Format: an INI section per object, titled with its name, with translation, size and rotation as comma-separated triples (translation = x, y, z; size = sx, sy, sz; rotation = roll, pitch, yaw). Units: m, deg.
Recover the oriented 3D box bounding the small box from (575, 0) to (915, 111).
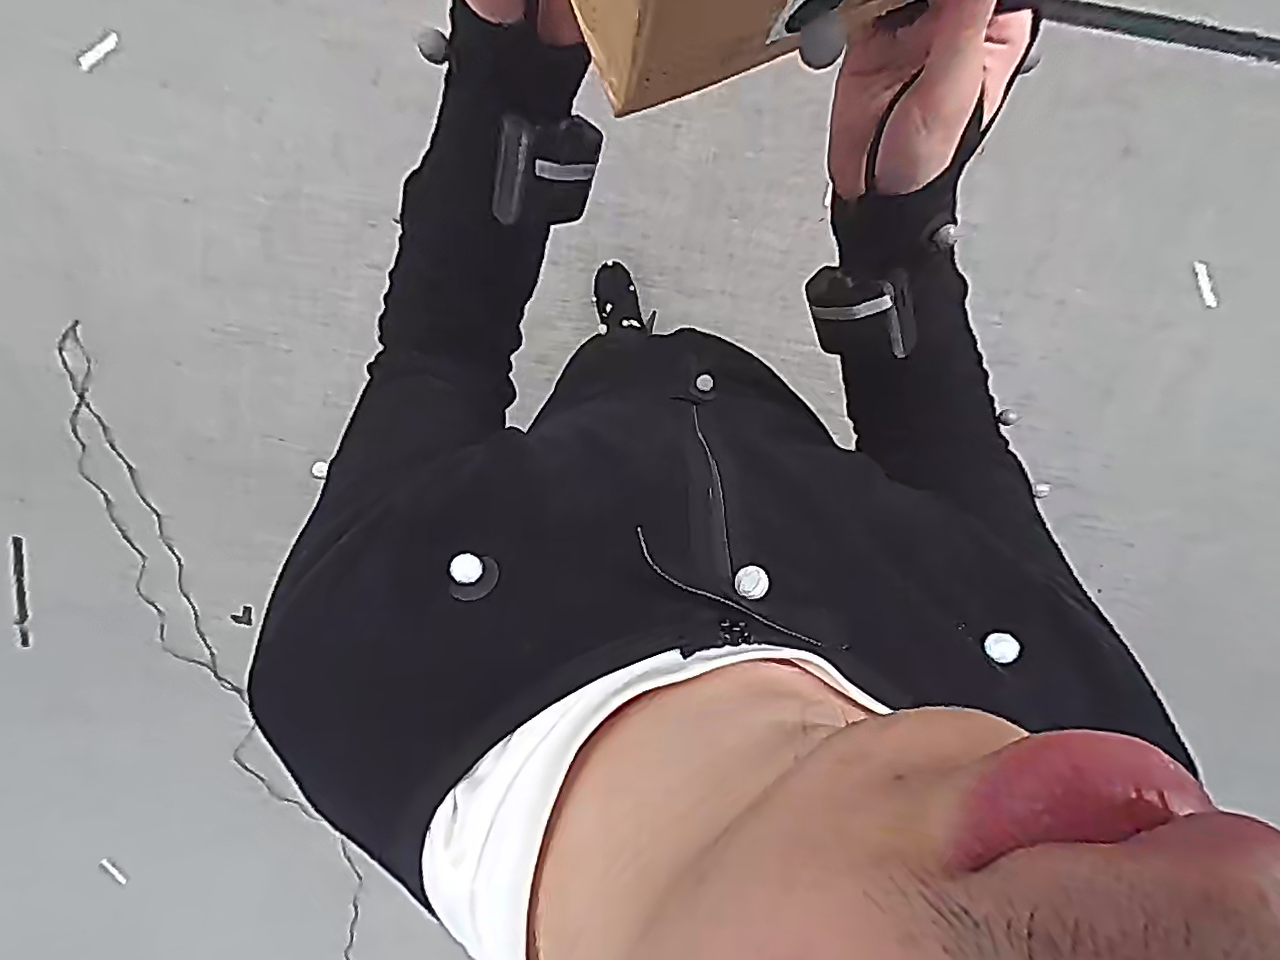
[small box]
translation = 0.040, -0.242, 0.132
size = 0.168, 0.176, 0.179
rotation = -24, 106, 1
